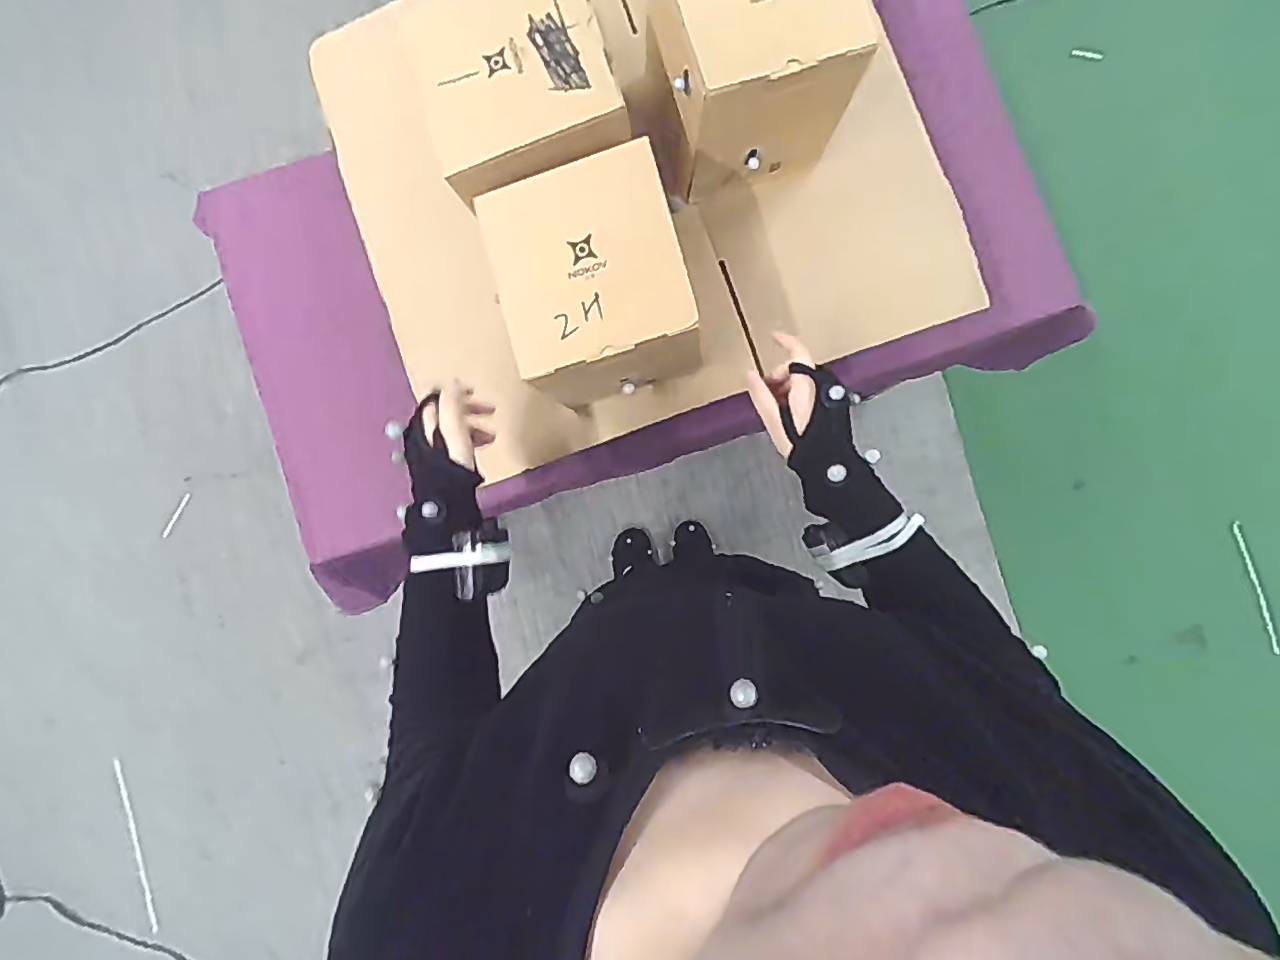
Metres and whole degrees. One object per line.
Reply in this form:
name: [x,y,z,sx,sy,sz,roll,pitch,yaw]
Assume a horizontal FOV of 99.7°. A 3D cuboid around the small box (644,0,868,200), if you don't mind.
small box: [0.104,-0.440,0.572,0.168,0.176,0.179,-17,87,-2]
